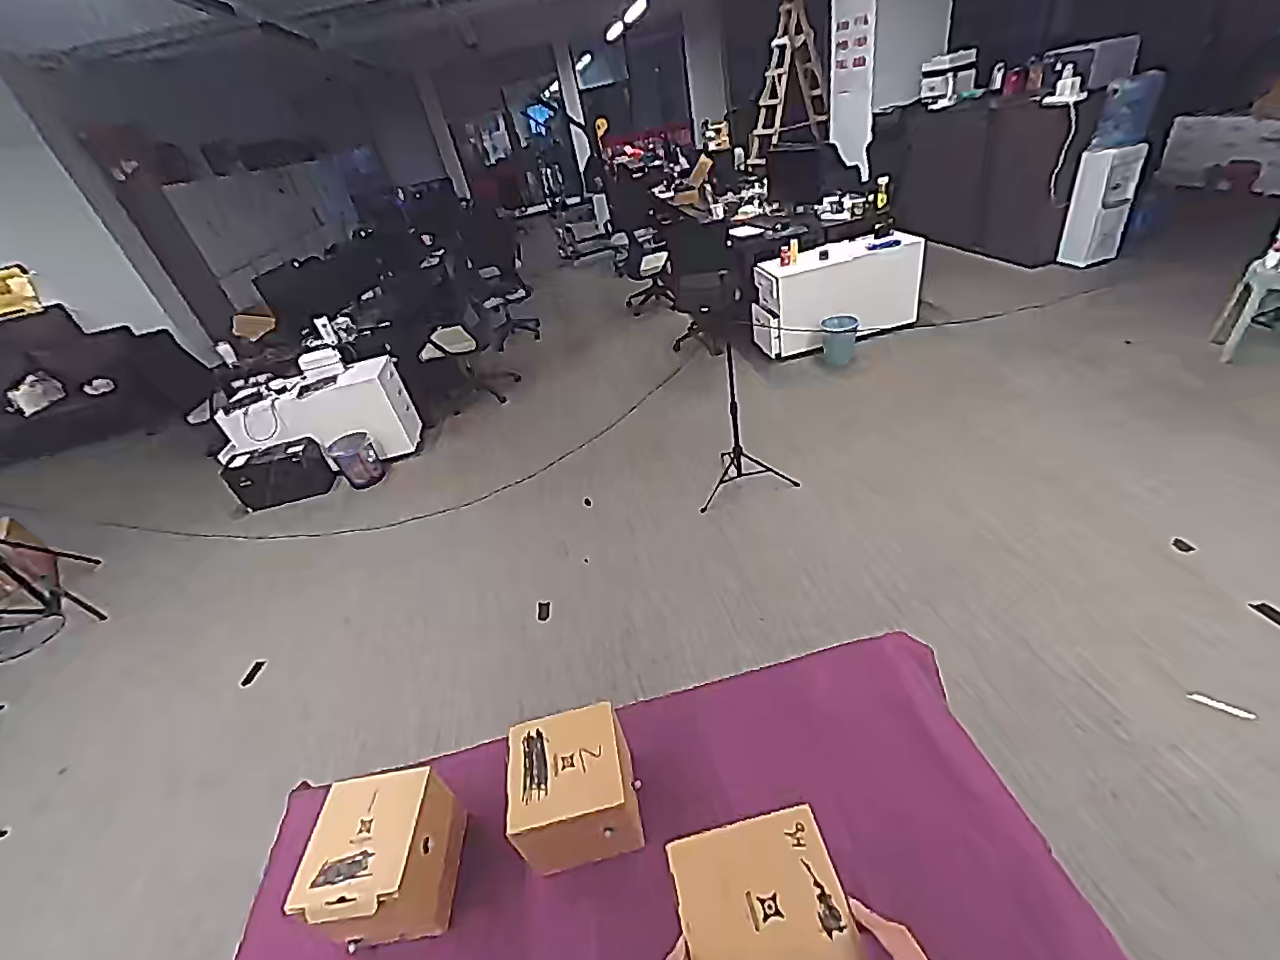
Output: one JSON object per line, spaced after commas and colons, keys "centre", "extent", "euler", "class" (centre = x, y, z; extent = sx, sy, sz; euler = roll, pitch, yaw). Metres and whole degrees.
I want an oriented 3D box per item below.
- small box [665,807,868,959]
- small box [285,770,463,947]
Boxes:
{"centre": [0.141, 0.508, 0.610], "extent": [0.179, 0.176, 0.168], "euler": [-15, 40, -1], "class": "small box"}
{"centre": [-0.392, 0.588, 0.837], "extent": [0.168, 0.176, 0.179], "euler": [-11, 35, 2], "class": "small box"}
